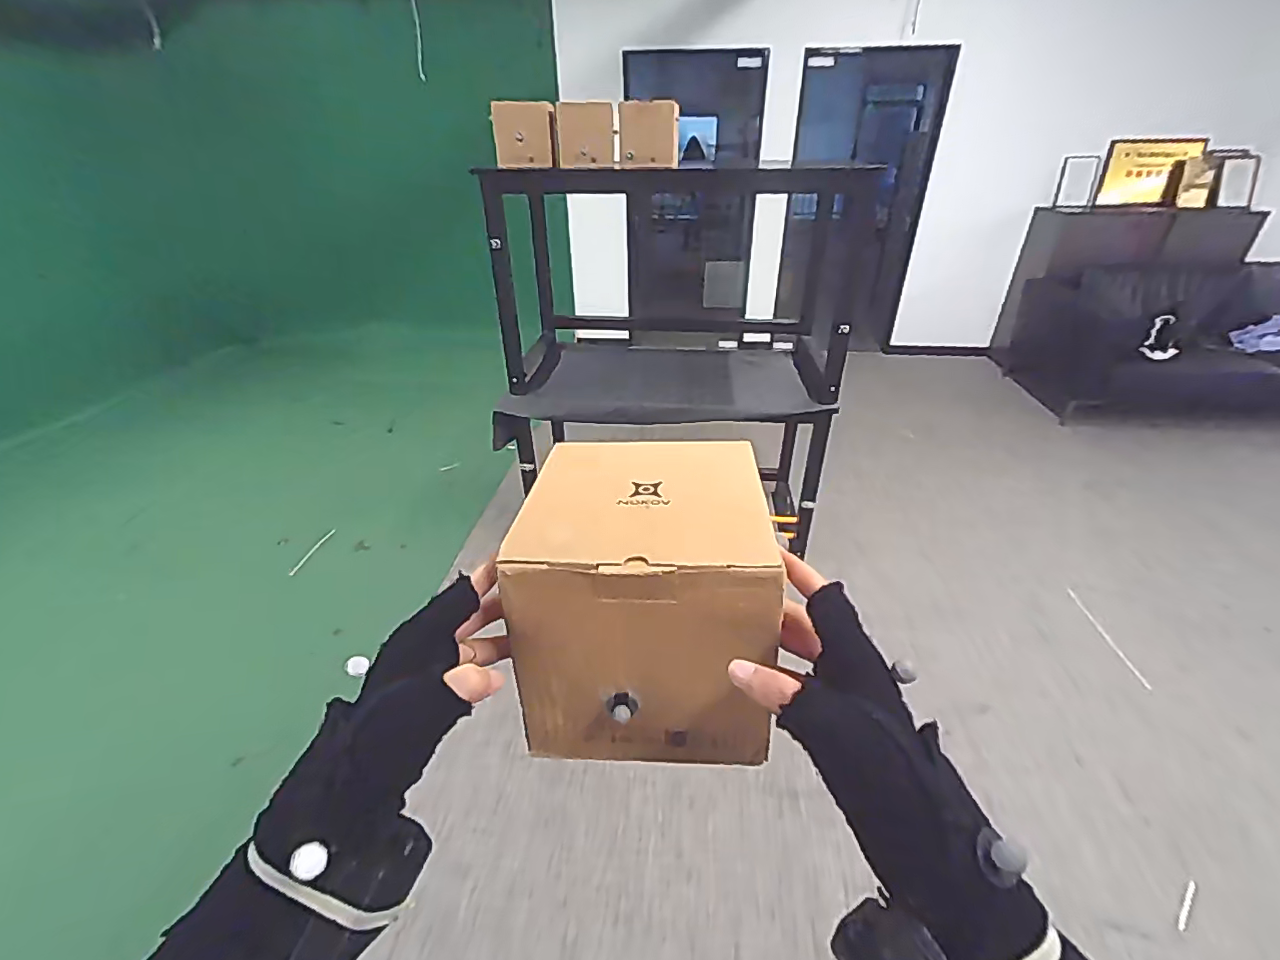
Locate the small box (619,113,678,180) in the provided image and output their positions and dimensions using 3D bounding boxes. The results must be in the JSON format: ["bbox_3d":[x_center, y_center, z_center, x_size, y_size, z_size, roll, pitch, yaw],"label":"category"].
[{"bbox_3d":[0.031,-1.034,1.684,0.168,0.176,0.179,4,30,7],"label":"small box"}]

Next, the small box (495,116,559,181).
[{"bbox_3d":[-0.350,-1.045,1.710,0.168,0.176,0.179,0,30,-2],"label":"small box"}]

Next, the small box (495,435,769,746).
[{"bbox_3d":[0.002,0.073,0.423,0.168,0.176,0.179,0,27,5],"label":"small box"}]
